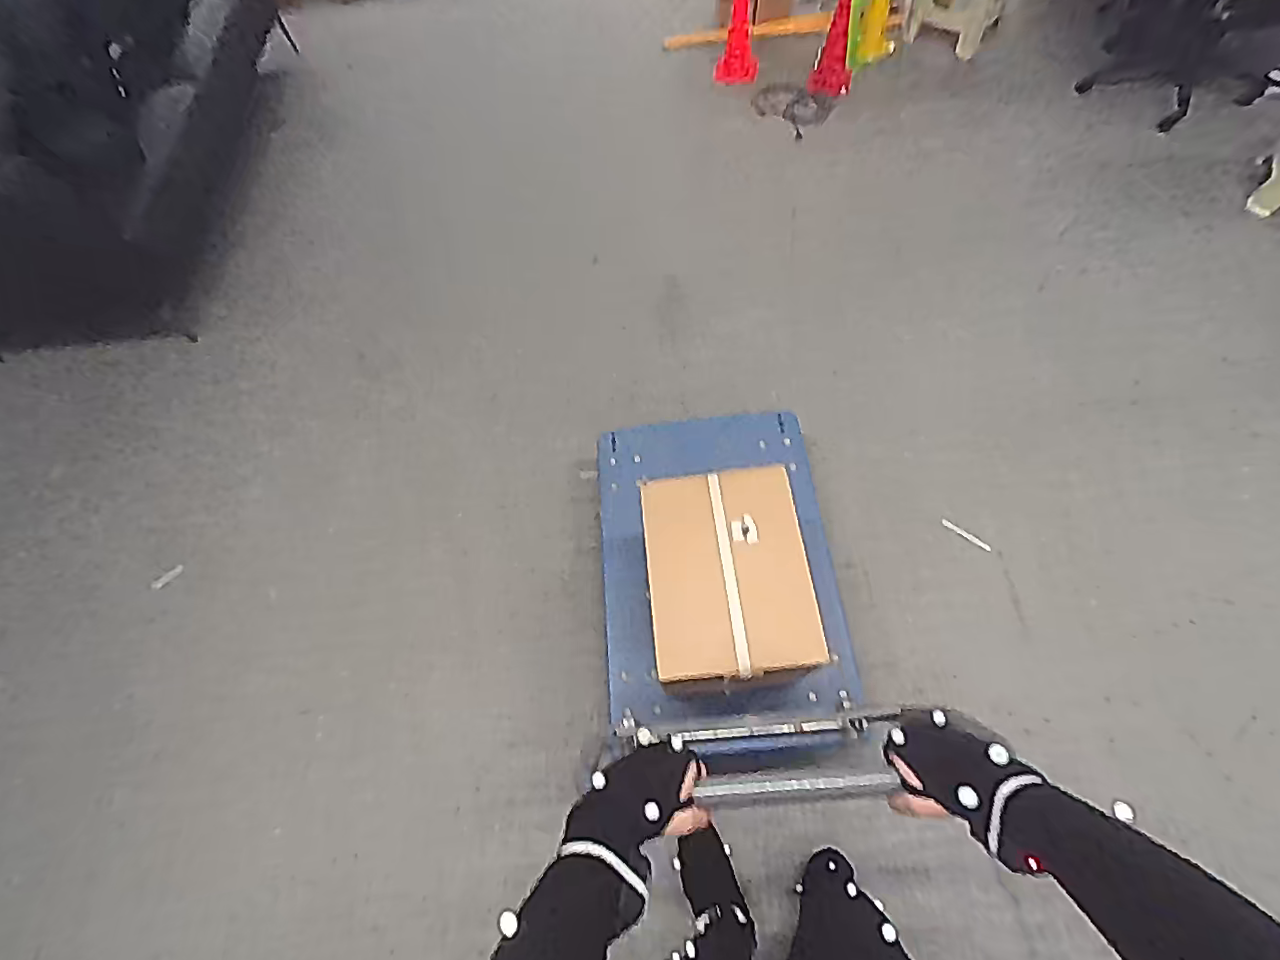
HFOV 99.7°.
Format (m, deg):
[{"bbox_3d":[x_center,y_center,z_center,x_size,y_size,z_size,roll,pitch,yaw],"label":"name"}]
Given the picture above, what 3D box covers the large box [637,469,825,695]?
[{"bbox_3d":[0.181,0.239,1.202,0.320,0.320,0.408,-7,63,2],"label":"large box"}]
